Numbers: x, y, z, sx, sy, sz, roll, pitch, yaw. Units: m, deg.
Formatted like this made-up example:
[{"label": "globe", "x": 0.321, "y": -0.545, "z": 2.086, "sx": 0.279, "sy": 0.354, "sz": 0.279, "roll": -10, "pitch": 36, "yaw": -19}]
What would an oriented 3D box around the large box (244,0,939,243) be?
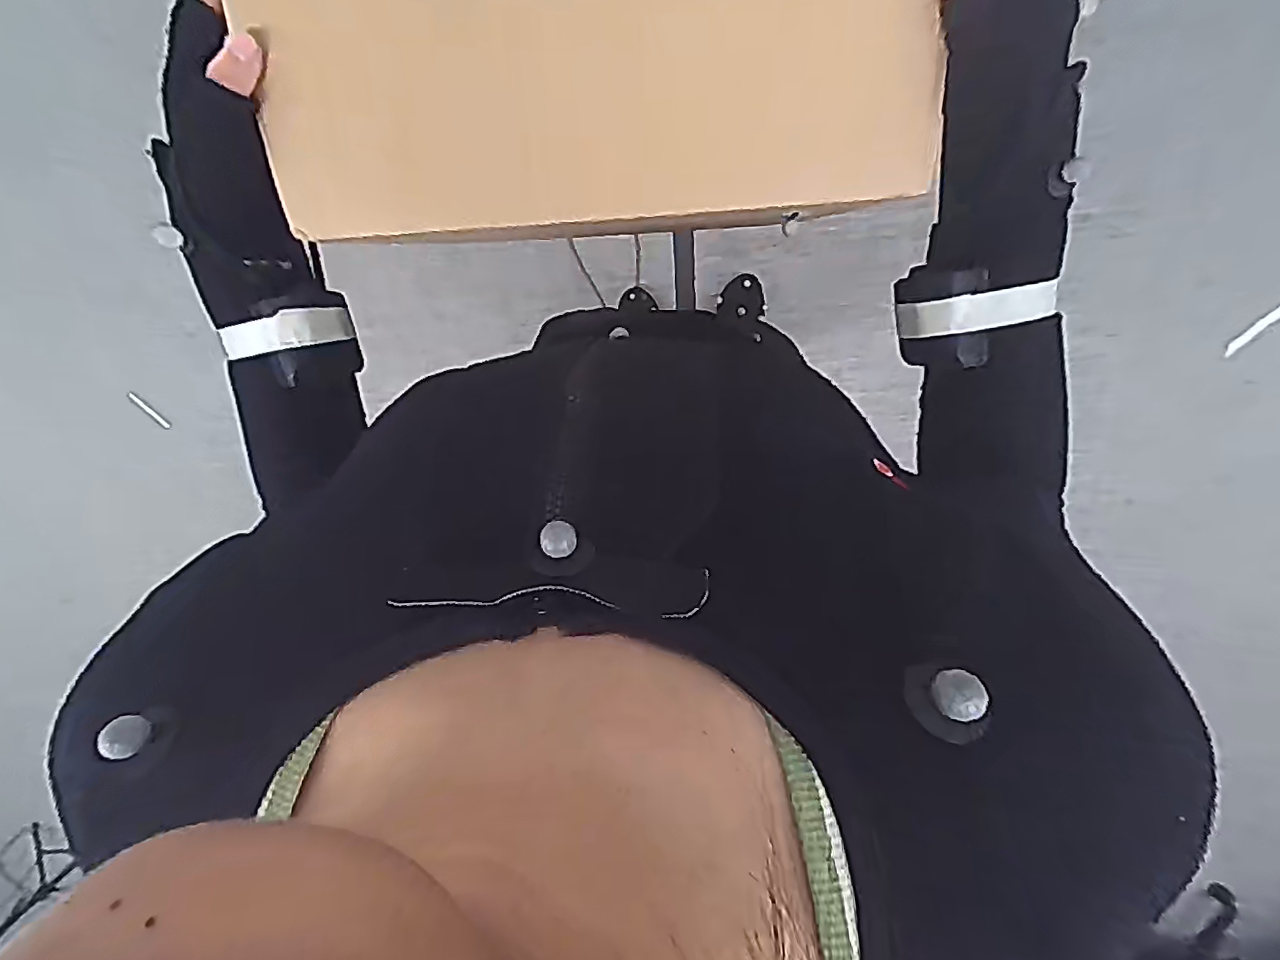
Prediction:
[{"label": "large box", "x": -0.026, "y": -0.372, "z": 0.427, "sx": 0.408, "sy": 0.320, "sz": 0.320, "roll": -3, "pitch": 113, "yaw": 3}]
